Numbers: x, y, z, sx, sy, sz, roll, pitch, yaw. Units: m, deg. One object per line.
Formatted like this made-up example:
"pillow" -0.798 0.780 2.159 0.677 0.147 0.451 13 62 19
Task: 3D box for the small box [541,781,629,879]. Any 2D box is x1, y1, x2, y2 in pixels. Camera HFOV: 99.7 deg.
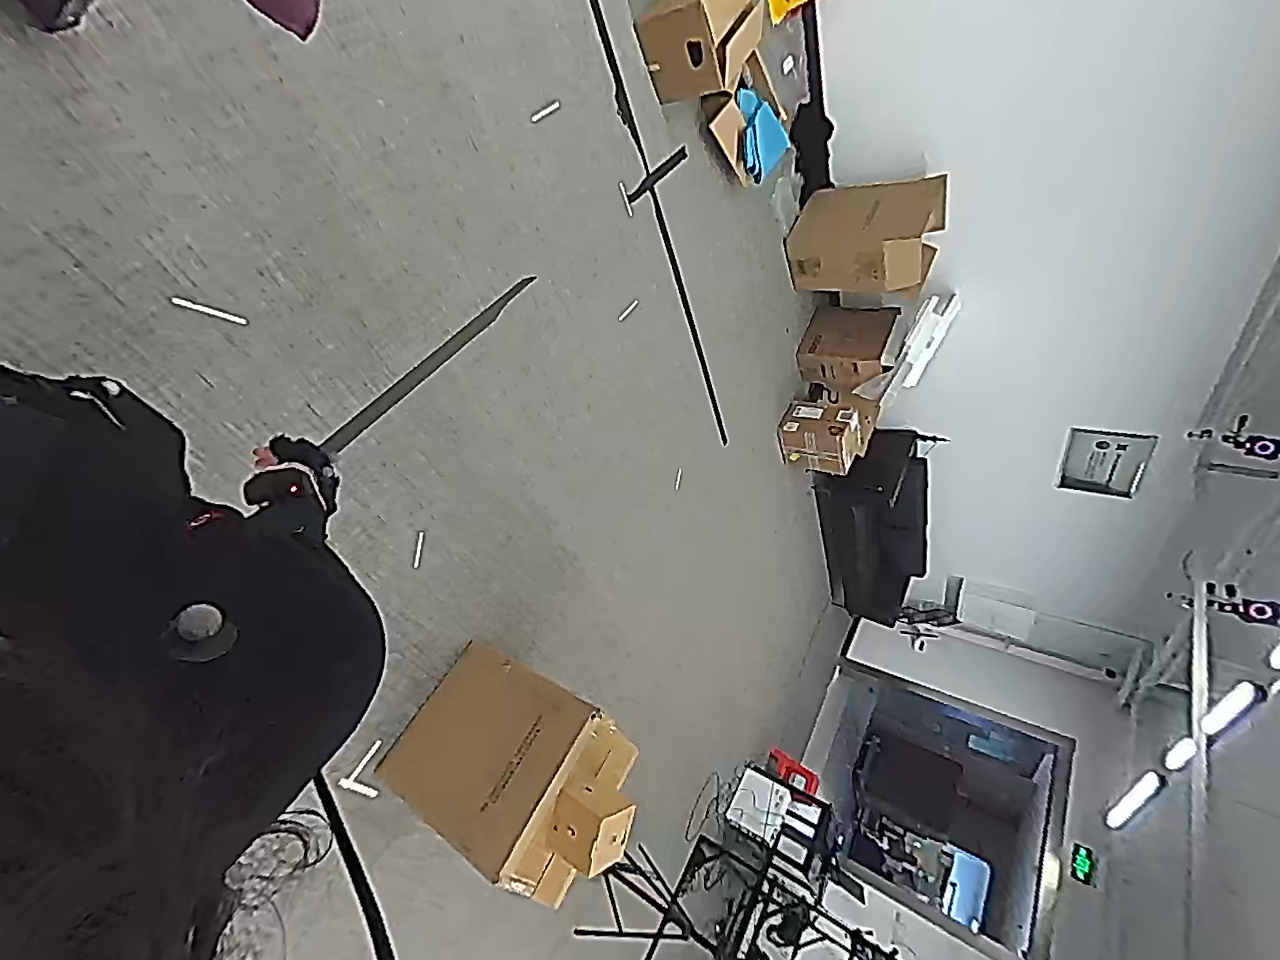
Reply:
"small box" -0.164 1.028 1.607 0.179 0.176 0.168 24 81 -53
